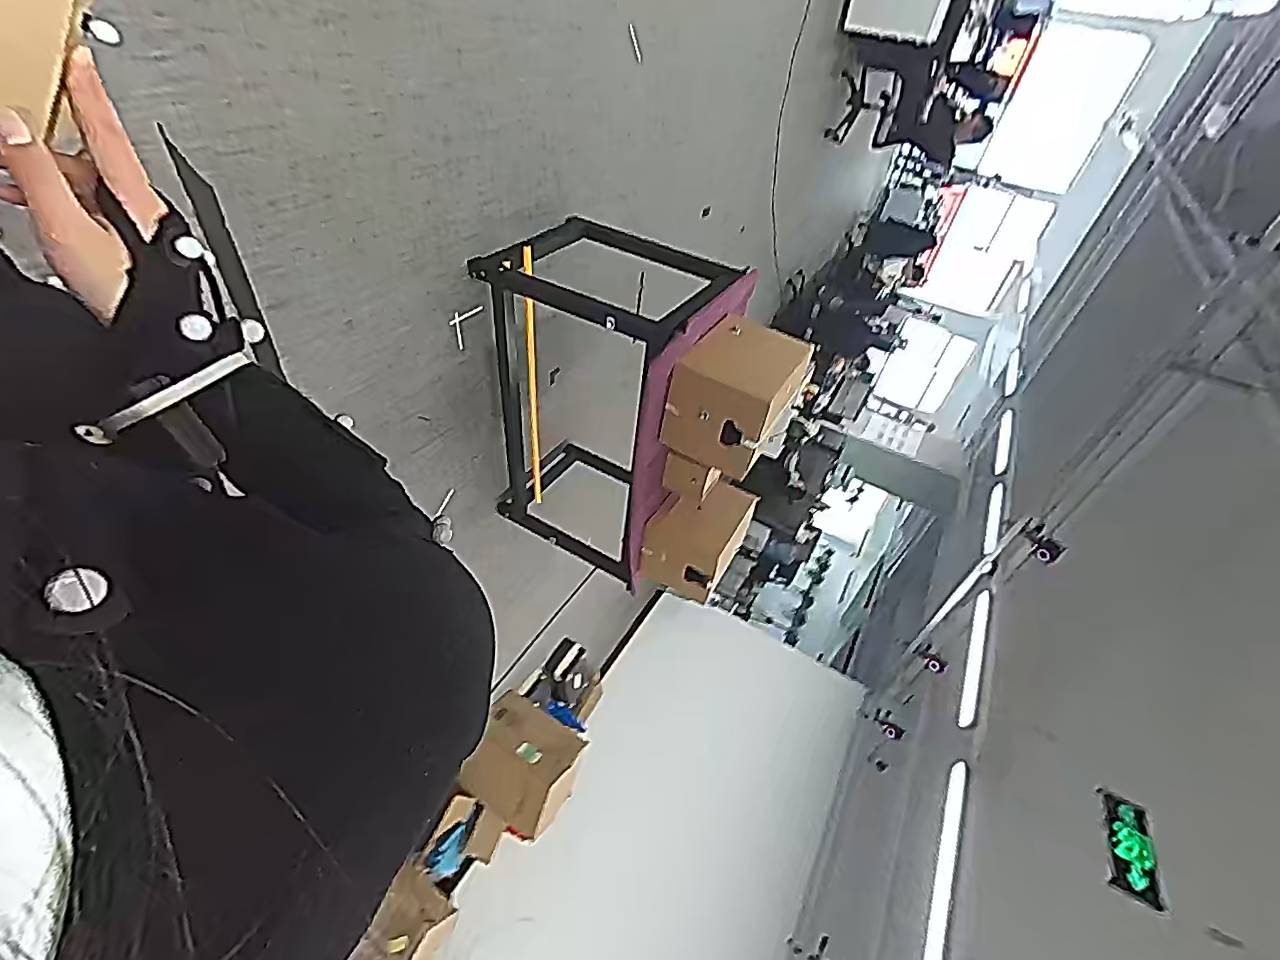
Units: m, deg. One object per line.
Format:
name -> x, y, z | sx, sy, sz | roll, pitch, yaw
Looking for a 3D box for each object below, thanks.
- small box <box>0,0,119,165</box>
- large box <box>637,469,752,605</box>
small box -> -0.368, -0.285, 0.254 | 0.179, 0.176, 0.168 | 15, 105, -48
large box -> 0.220, 0.224, 2.231 | 0.408, 0.320, 0.320 | -49, 157, -42
